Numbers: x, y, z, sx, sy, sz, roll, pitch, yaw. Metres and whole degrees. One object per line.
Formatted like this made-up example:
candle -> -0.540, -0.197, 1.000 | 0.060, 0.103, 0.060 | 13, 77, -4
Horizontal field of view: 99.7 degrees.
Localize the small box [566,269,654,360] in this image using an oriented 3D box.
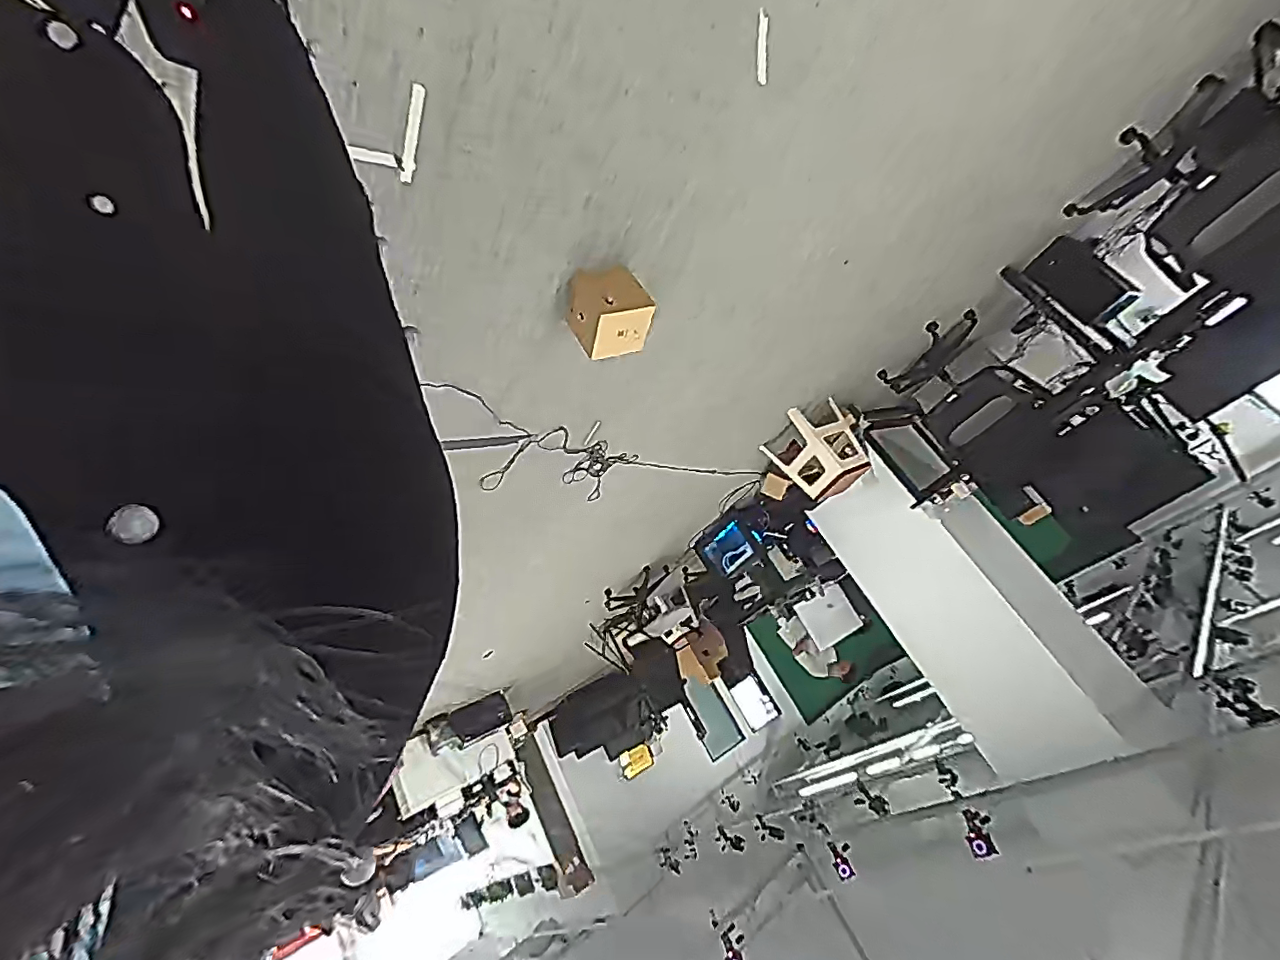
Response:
small box -> -0.092, -0.468, 1.521 | 0.179, 0.176, 0.168 | -20, 154, -28
